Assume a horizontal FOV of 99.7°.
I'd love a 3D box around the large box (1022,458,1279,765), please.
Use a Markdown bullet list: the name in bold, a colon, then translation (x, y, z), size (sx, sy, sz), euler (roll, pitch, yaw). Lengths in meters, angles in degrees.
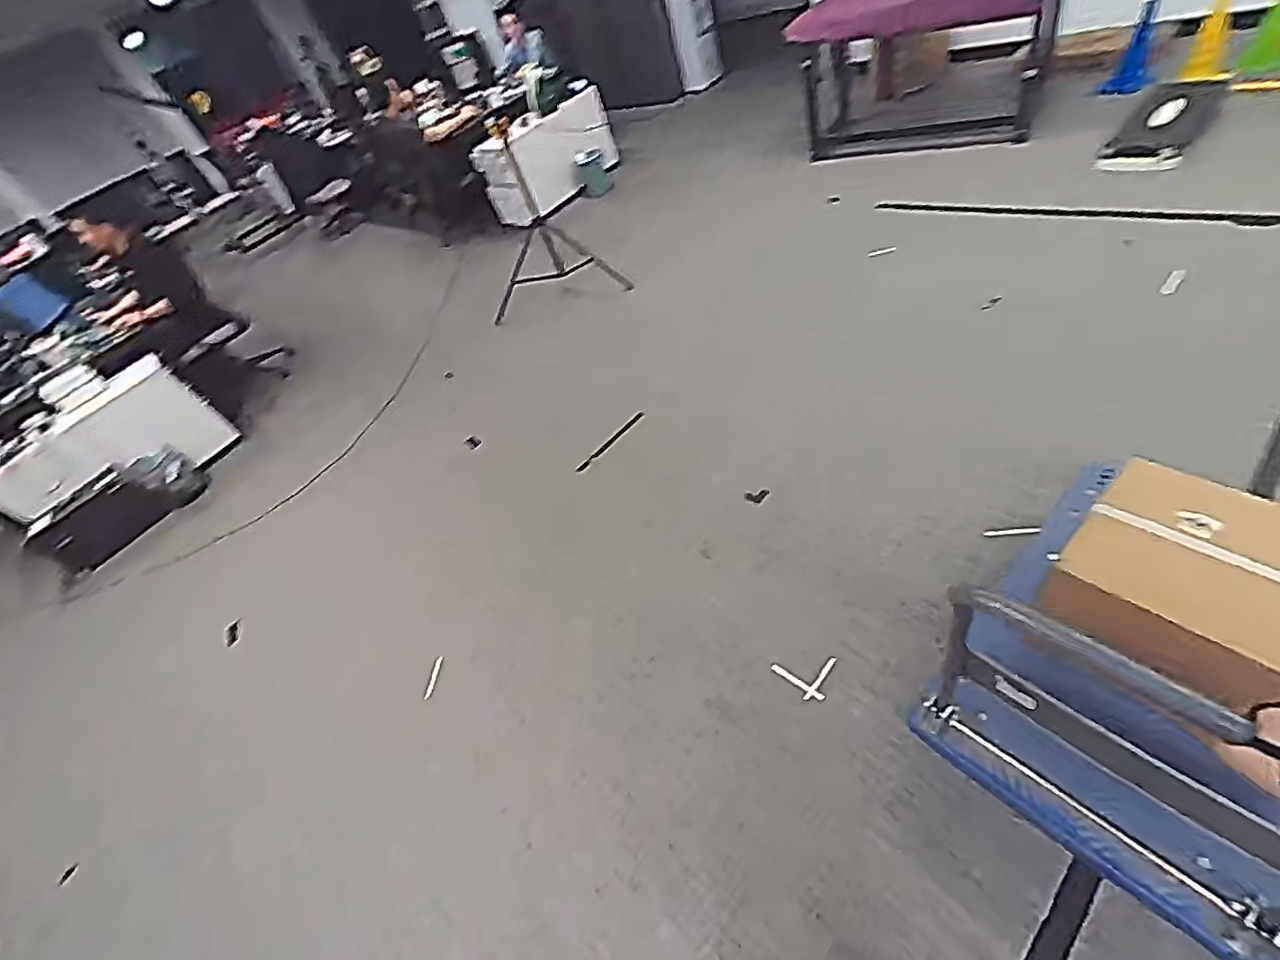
- **large box**: translation (1.019, 0.227, 0.998), size (0.320, 0.320, 0.408), euler (-42, 46, -16)
